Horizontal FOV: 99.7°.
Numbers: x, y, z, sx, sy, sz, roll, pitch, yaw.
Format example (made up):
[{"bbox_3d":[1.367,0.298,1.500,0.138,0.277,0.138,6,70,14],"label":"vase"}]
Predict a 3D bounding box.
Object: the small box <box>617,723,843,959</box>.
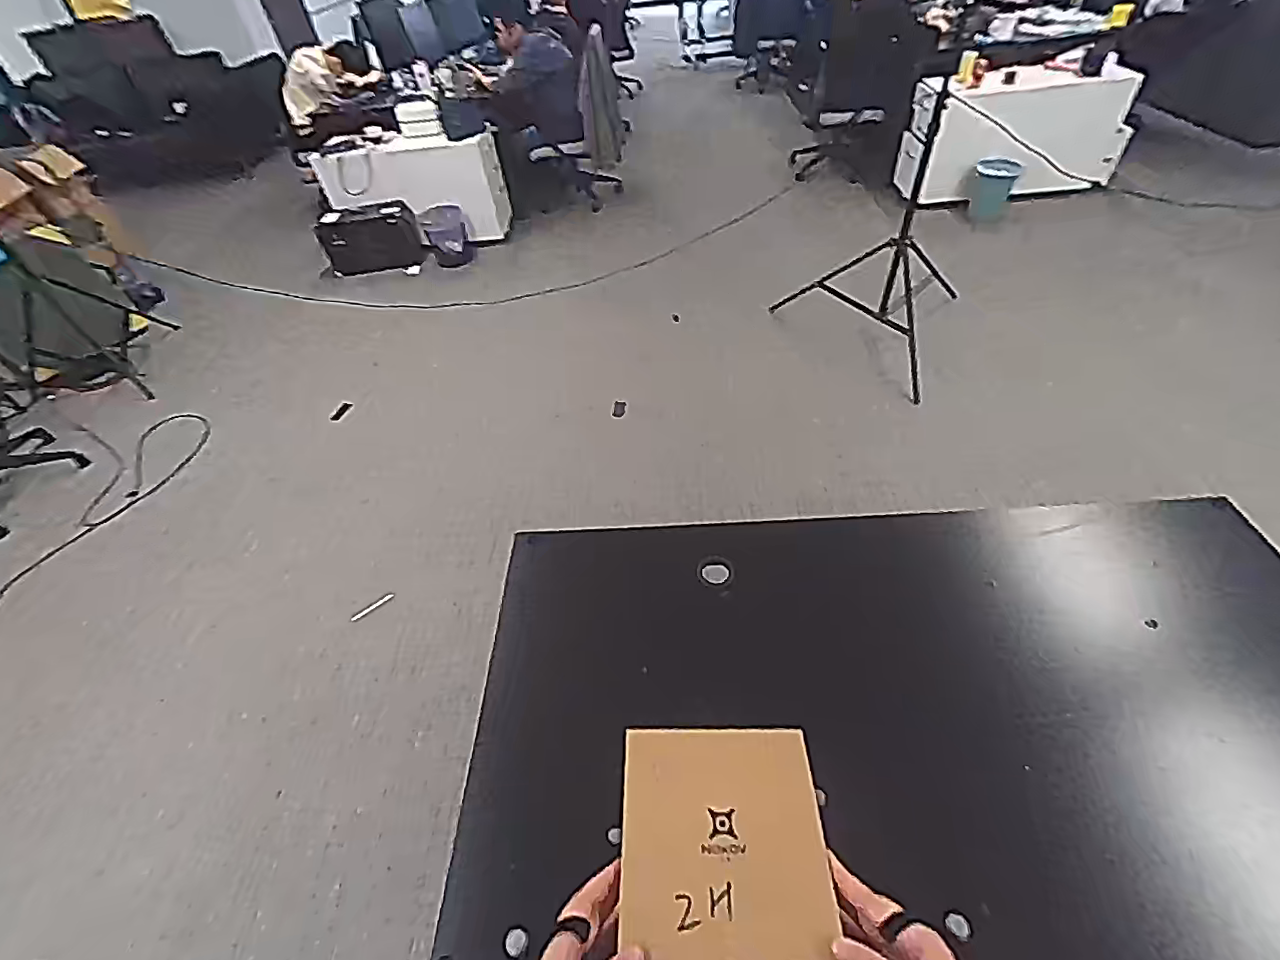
[{"bbox_3d":[0.070,0.349,0.501,0.168,0.176,0.179,-1,42,3],"label":"small box"}]
